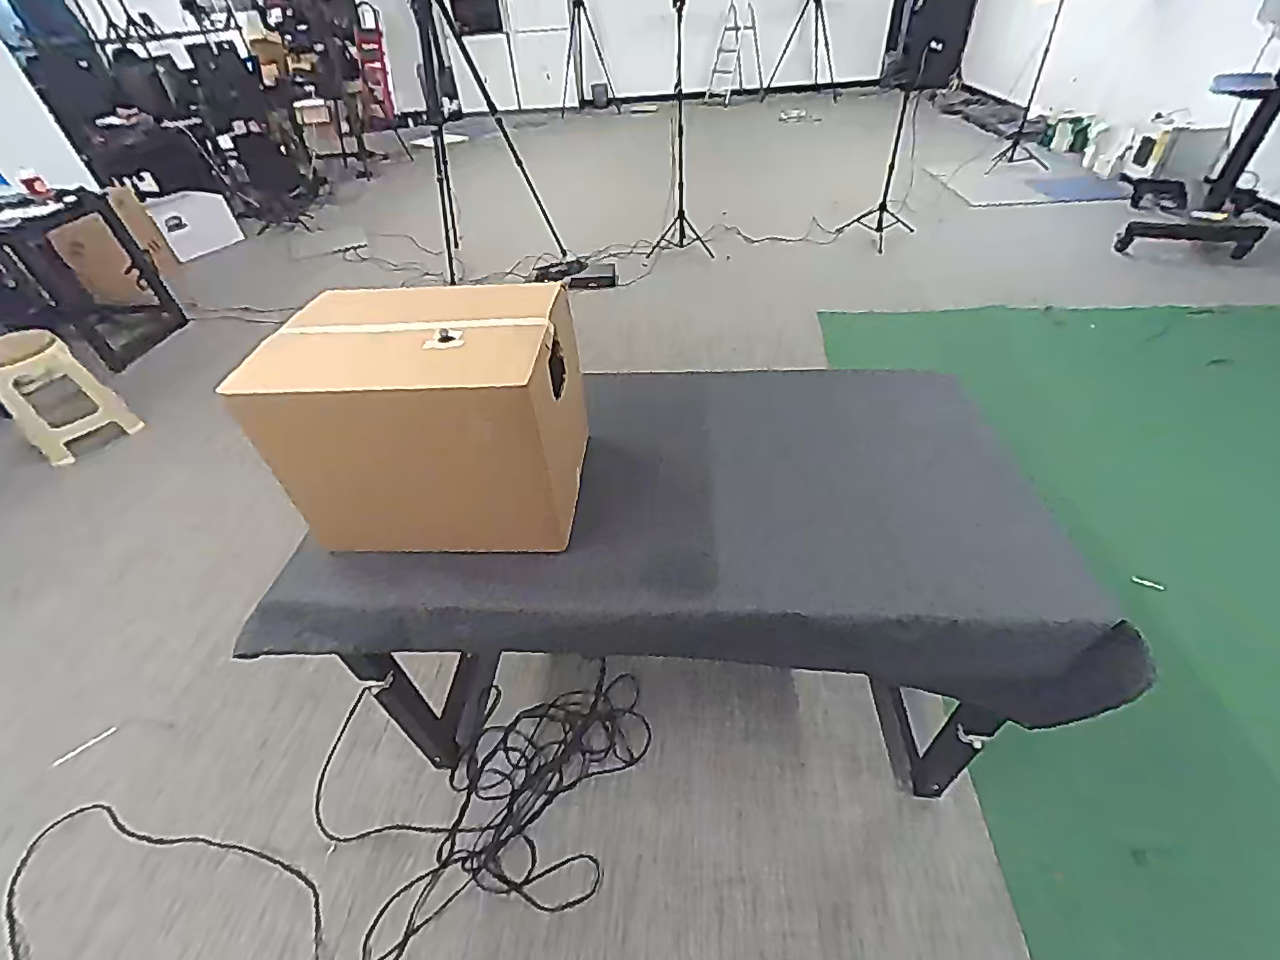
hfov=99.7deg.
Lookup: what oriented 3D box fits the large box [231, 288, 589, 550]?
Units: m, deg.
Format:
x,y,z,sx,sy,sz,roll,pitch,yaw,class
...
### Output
x,y,z,sx,sy,sz,roll,pitch,yaw,class
-0.309,-0.099,0.877,0.408,0.320,0.320,0,43,3,large box
